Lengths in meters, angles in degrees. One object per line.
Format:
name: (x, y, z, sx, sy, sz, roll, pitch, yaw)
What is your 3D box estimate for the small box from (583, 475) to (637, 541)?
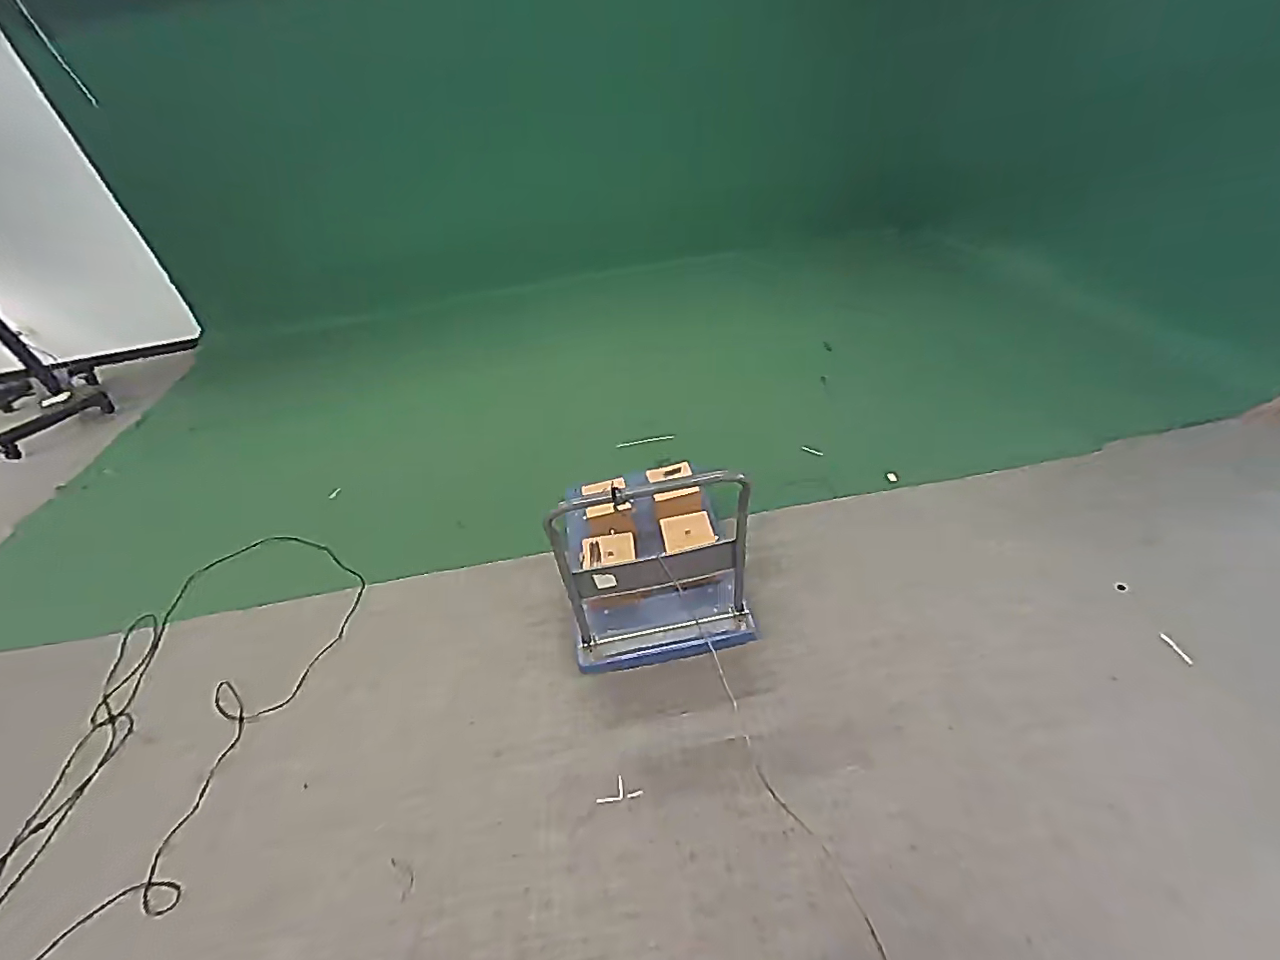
small box: (-0.110, 0.112, 2.033, 0.168, 0.176, 0.179, -12, 41, -5)

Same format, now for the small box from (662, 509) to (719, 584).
small box: (0.171, 0.228, 1.851, 0.168, 0.176, 0.179, -10, 42, -1)

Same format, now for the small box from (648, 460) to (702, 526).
small box: (0.134, 0.054, 2.054, 0.168, 0.176, 0.179, -13, 42, -4)
